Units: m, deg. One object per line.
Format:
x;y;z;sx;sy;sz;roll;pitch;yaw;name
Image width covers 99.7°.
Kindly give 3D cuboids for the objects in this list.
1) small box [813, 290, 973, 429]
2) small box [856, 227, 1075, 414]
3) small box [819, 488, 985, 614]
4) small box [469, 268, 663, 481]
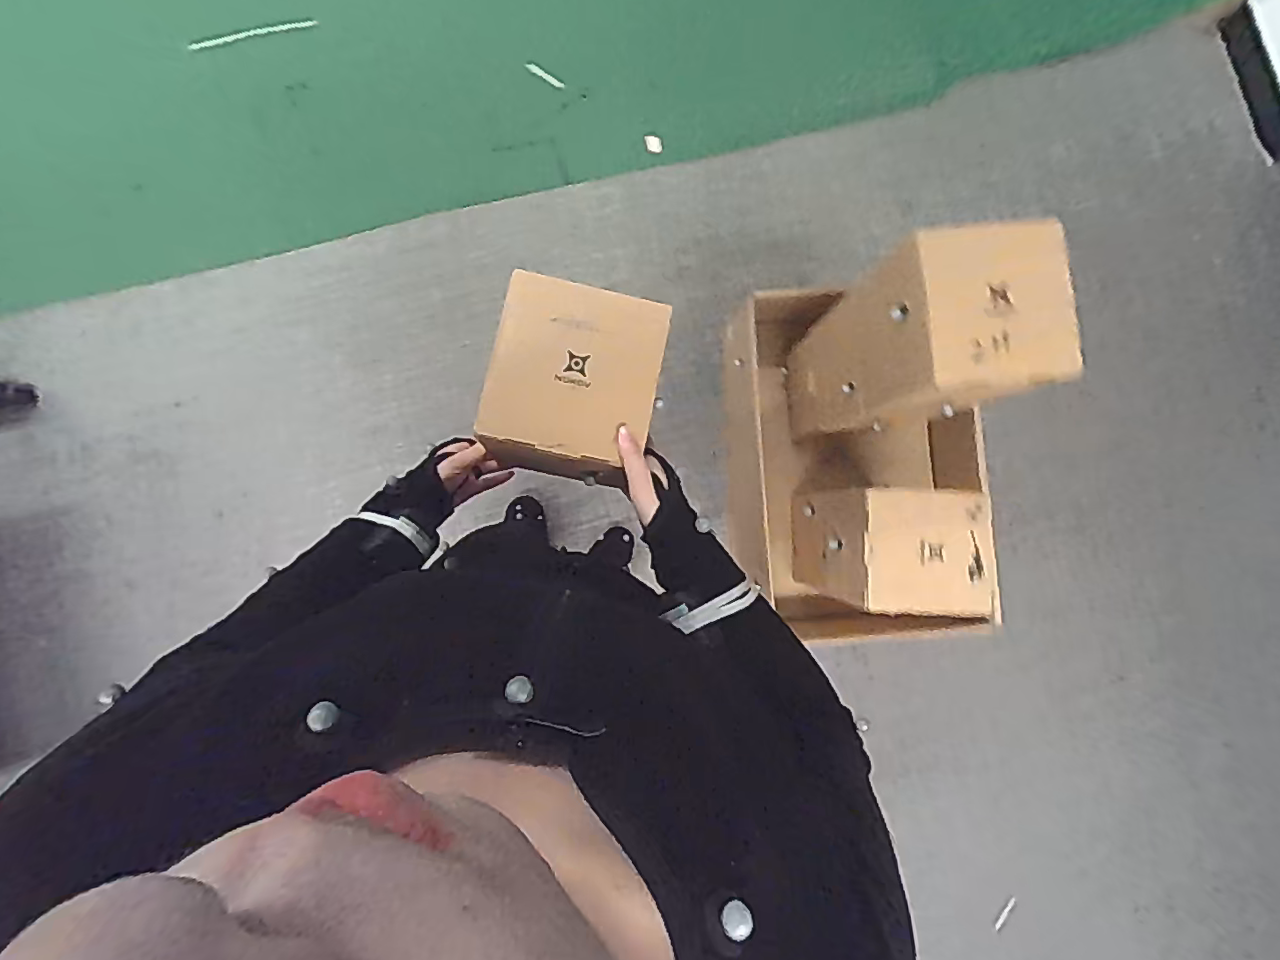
0.379;-0.180;0.836;0.168;0.176;0.179;-4;88;-3;small box
0.385;-0.186;0.671;0.168;0.176;0.179;-5;88;-2;small box
0.383;0.102;0.817;0.179;0.176;0.168;3;87;-2;small box
-0.079;-0.102;0.611;0.168;0.176;0.179;11;81;-6;small box
